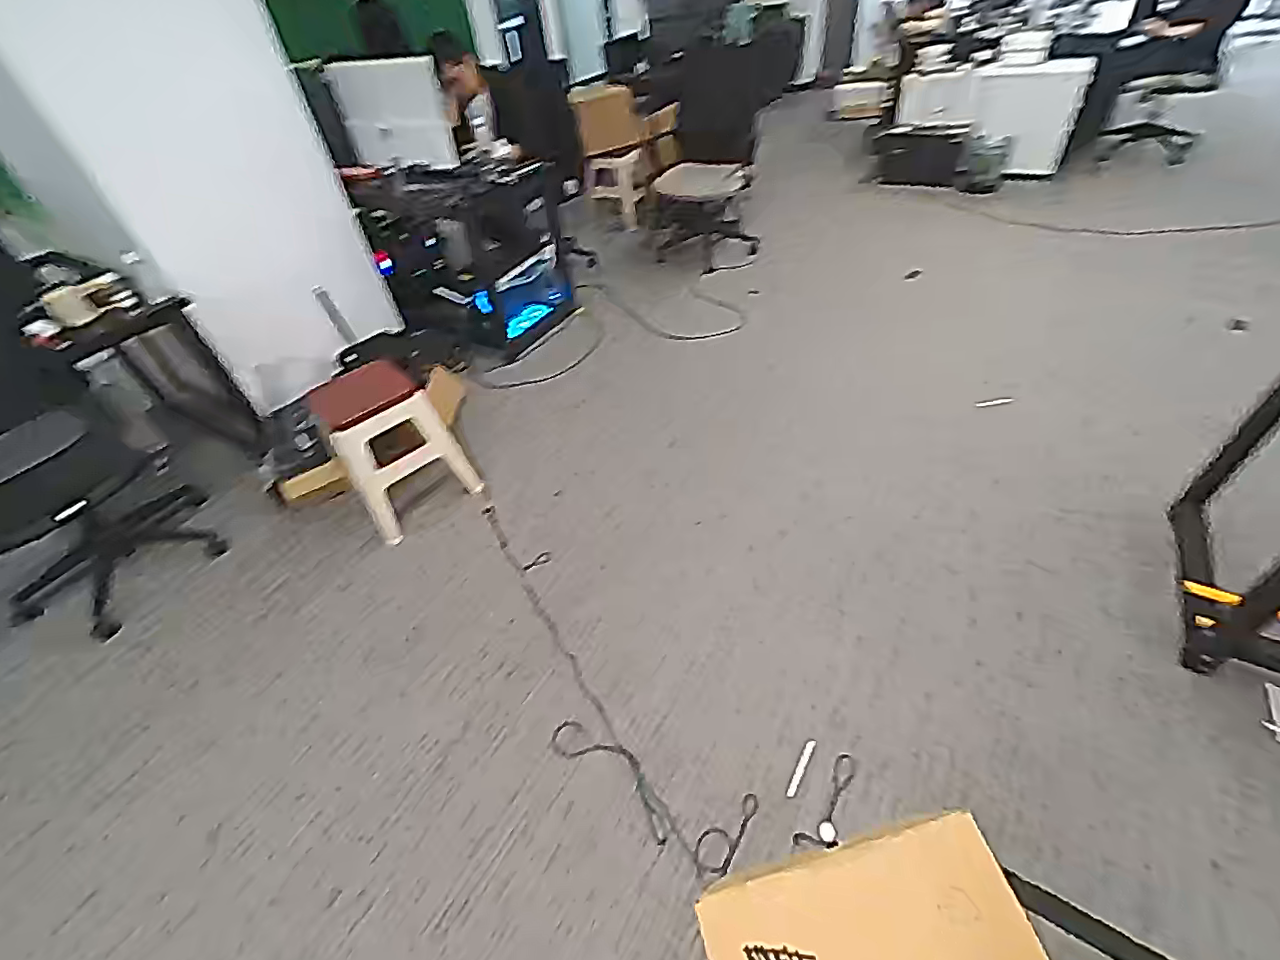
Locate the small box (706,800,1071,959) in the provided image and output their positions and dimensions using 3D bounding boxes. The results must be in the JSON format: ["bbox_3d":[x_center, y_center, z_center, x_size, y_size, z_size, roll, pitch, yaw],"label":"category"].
[{"bbox_3d":[0.157,0.321,0.338,0.179,0.176,0.168,-19,55,2],"label":"small box"}]
